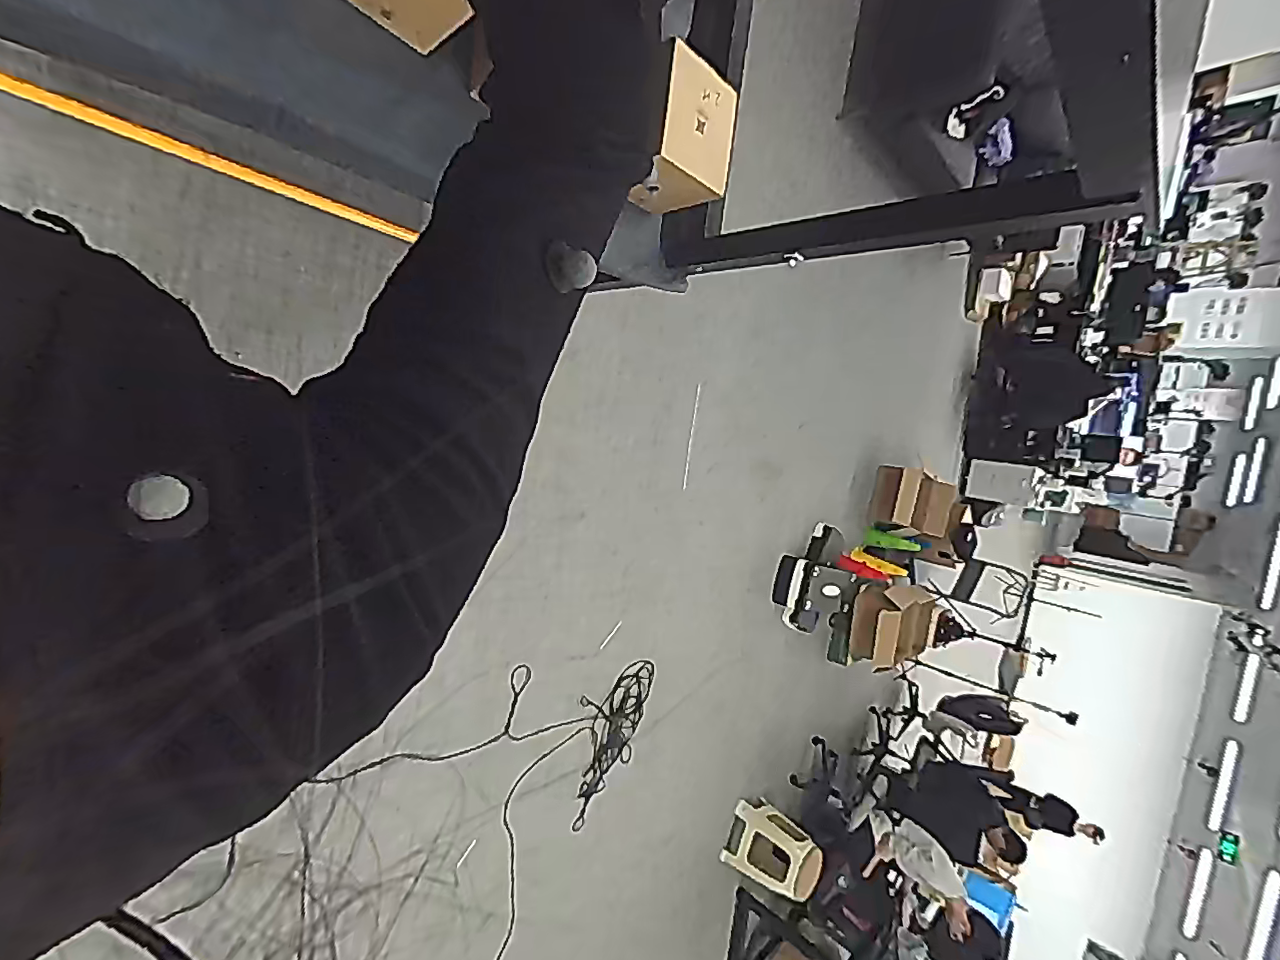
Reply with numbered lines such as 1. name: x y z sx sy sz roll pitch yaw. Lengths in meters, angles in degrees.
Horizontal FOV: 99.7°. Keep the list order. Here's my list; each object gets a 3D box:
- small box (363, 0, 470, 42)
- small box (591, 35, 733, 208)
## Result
1. small box: -0.268 -0.649 0.602 0.168 0.176 0.179 9 93 -47
2. small box: 0.034 -0.594 0.929 0.168 0.176 0.179 1 98 -47
